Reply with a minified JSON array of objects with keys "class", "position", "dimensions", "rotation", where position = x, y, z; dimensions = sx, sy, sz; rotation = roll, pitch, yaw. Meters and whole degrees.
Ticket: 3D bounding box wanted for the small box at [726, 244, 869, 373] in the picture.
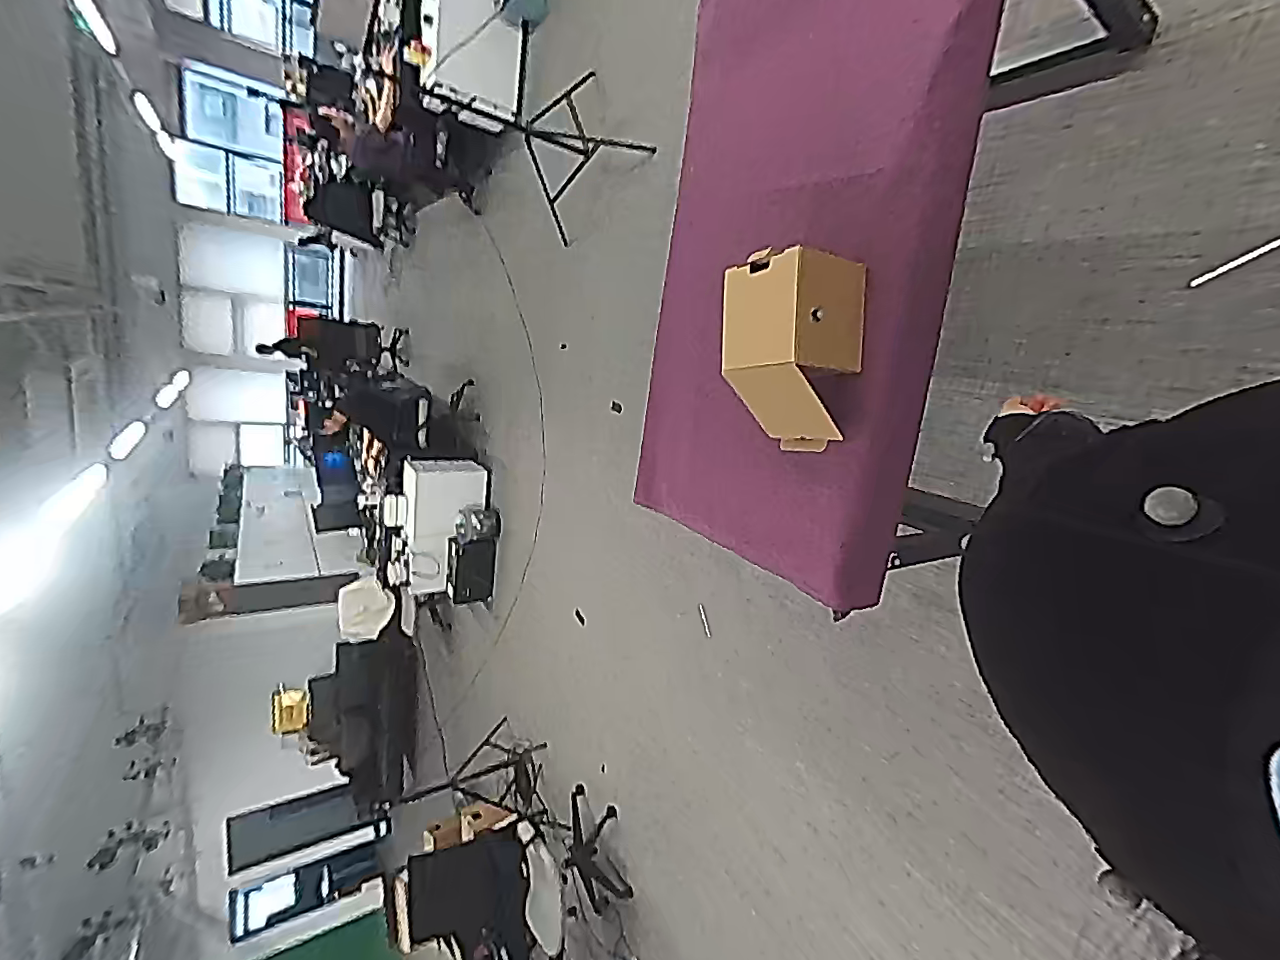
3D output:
[{"class":"small box","position":[0.265,-0.274,0.915],"dimensions":[0.168,0.176,0.179],"rotation":[10,100,56]}]
